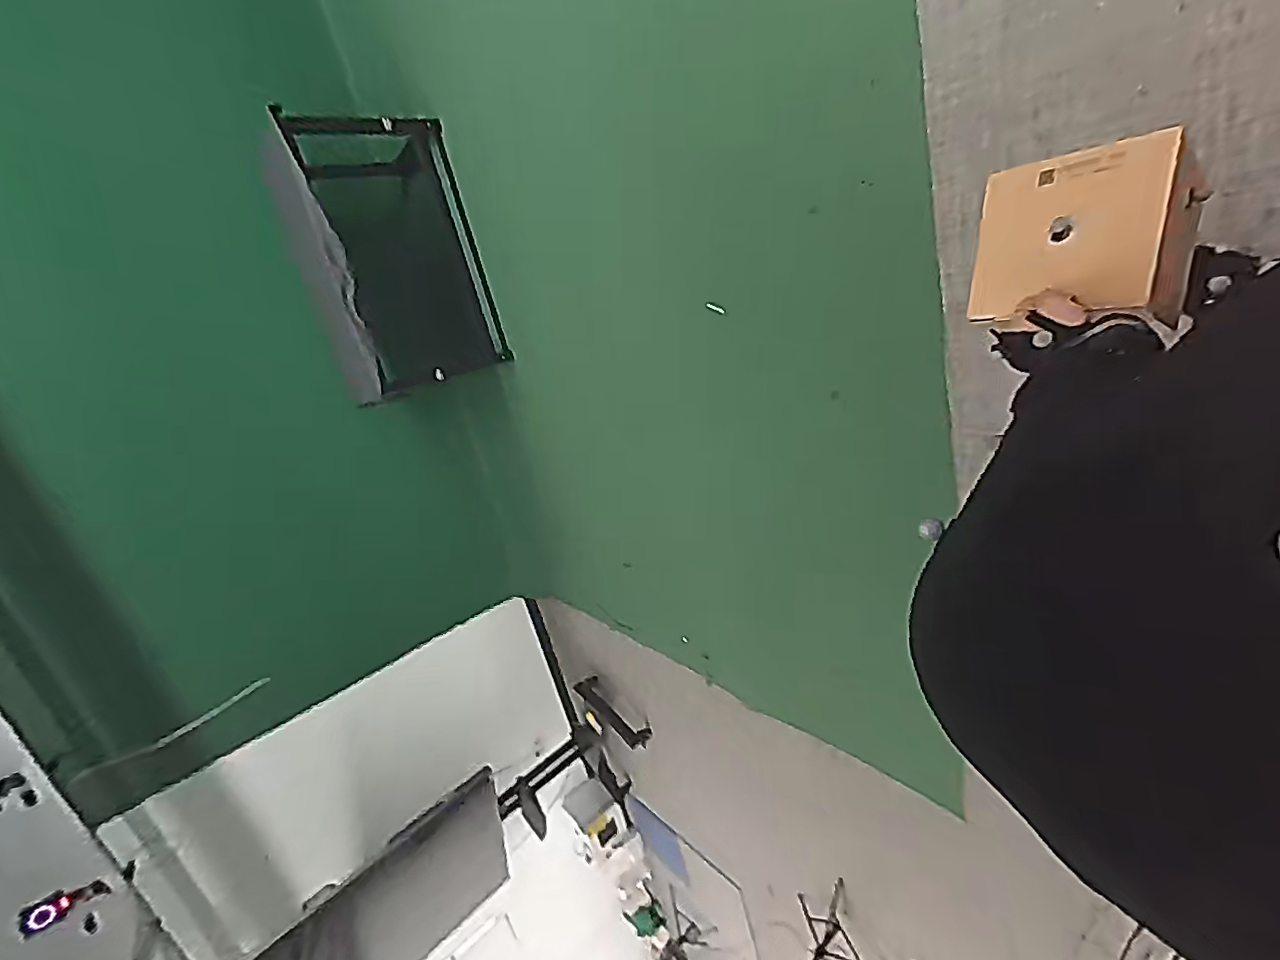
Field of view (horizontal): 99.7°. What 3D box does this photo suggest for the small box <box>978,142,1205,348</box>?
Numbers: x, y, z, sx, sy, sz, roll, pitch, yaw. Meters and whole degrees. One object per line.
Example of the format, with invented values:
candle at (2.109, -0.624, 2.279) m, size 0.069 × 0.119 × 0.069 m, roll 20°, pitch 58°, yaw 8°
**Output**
small box at (0.523, -0.259, 0.631) m, size 0.168 × 0.179 × 0.176 m, roll 10°, pitch 97°, yaw 51°
